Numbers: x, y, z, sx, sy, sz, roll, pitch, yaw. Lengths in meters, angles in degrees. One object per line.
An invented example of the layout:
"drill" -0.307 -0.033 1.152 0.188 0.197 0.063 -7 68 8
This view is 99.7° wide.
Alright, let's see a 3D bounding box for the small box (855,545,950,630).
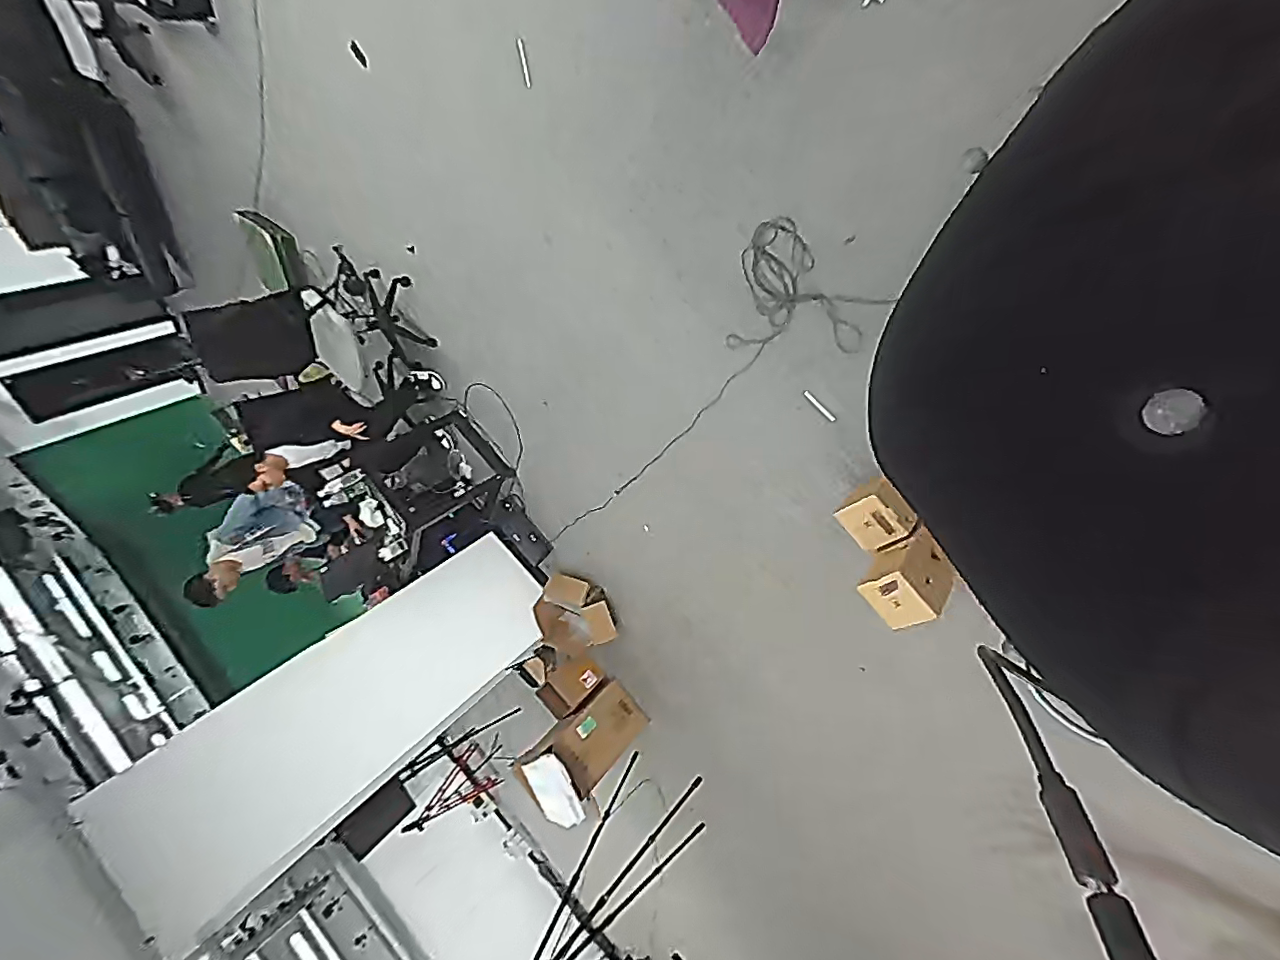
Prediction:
"small box" 0.799 0.319 1.640 0.179 0.176 0.168 49 143 3
